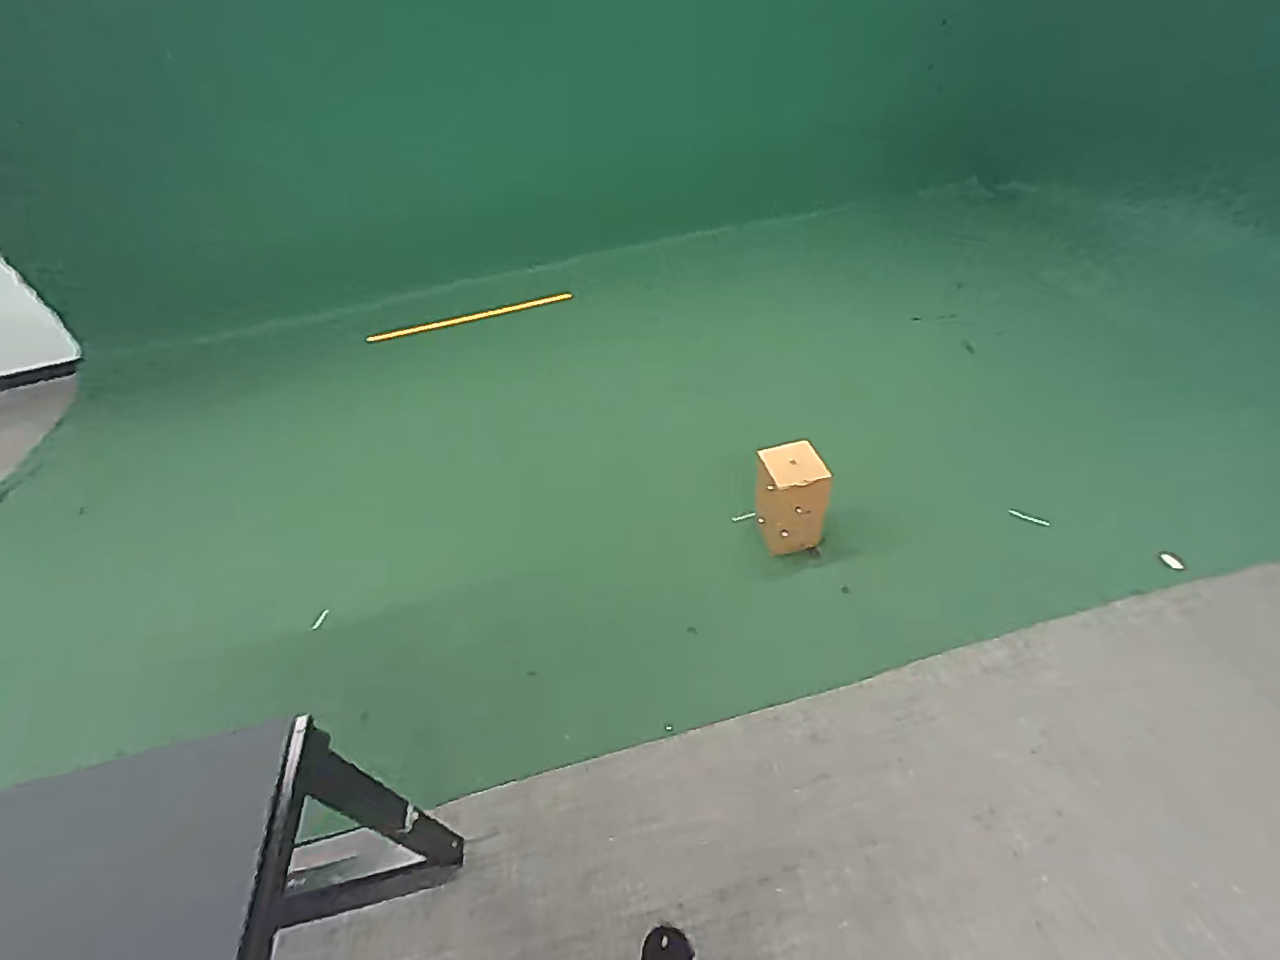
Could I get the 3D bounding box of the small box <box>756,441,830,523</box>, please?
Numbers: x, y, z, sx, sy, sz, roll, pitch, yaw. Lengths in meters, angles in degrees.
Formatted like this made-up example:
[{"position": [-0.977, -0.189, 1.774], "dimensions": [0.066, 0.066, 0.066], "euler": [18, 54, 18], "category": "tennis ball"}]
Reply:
[{"position": [0.470, 0.007, 1.695], "dimensions": [0.168, 0.176, 0.179], "euler": [-13, 44, -5], "category": "small box"}]
